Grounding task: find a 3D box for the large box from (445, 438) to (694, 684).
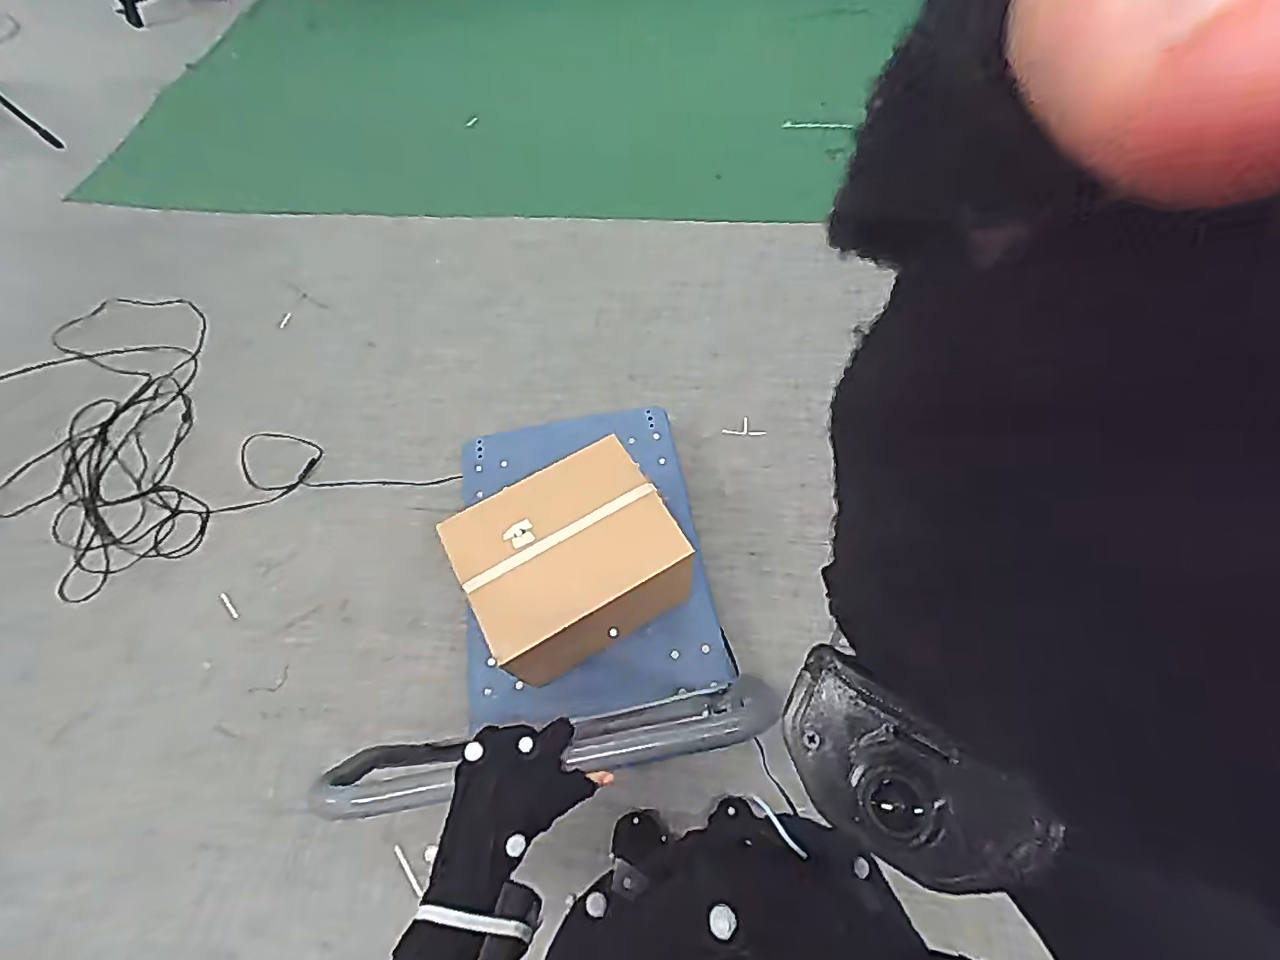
[{"bbox_3d":[-0.132,0.184,1.174,0.408,0.320,0.320,-29,63,-11],"label":"large box"}]
